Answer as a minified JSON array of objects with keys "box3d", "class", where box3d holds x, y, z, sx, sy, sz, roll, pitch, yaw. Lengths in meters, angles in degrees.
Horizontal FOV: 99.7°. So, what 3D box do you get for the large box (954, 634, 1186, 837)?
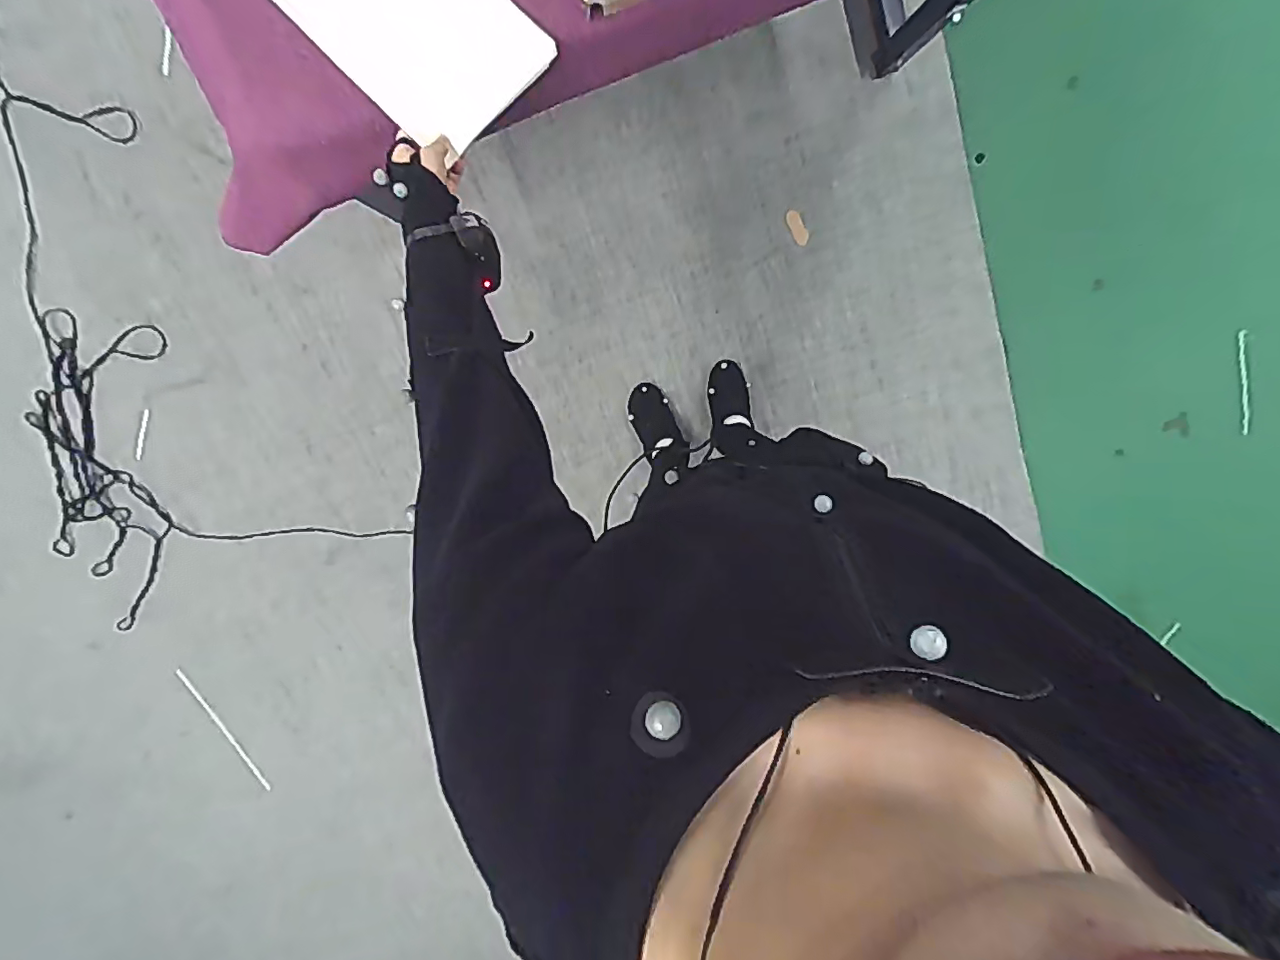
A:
[{"box3d":[1.272,0.755,1.637,0.408,0.320,0.320,-36,105,4],"class":"large box"}]
